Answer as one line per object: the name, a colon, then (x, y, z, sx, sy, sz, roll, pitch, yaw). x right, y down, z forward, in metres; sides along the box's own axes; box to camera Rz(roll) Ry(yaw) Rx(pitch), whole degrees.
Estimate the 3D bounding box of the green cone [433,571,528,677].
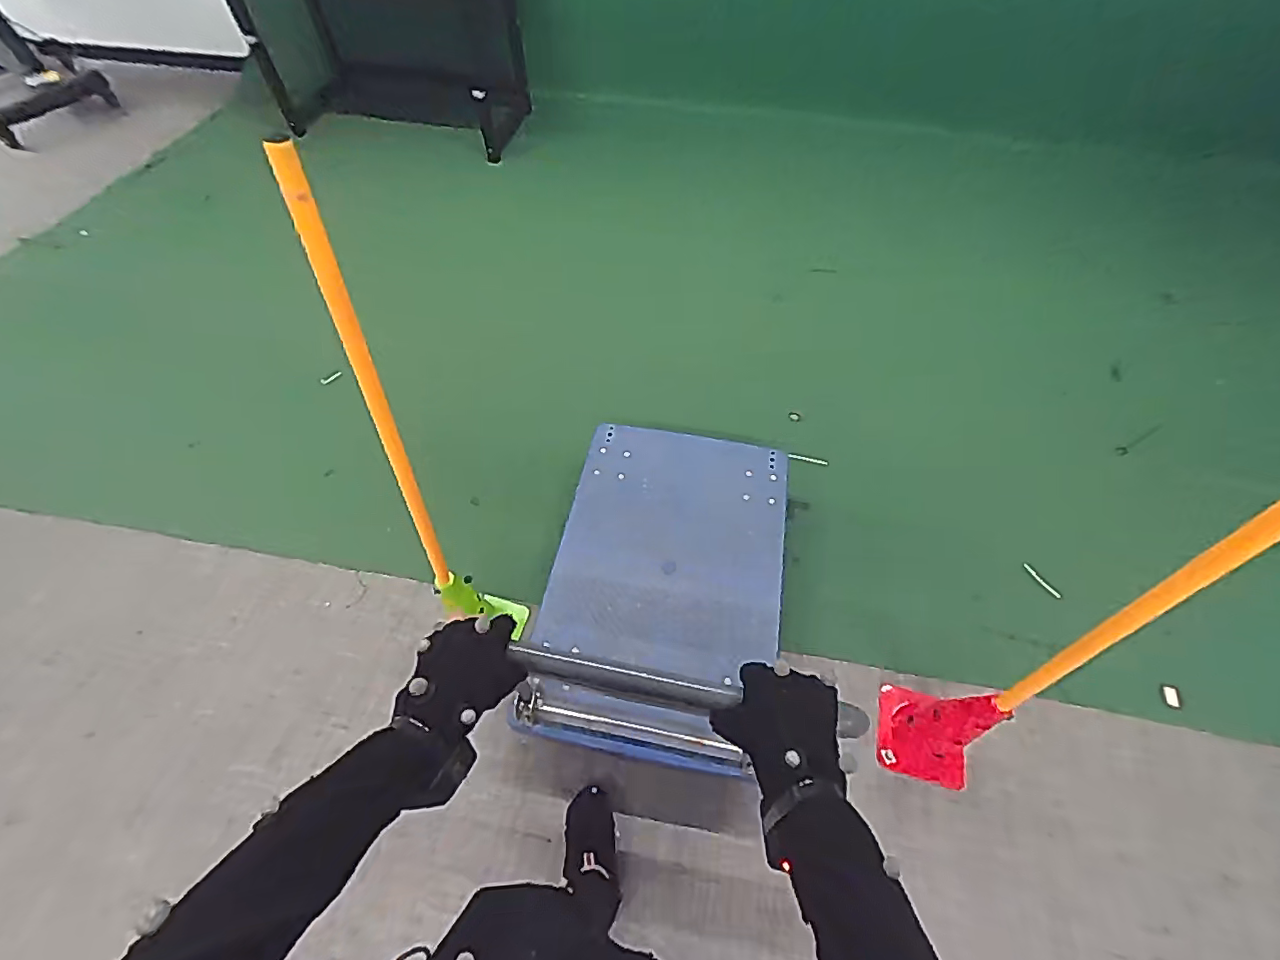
green cone: (-0.423, 0.315, 1.315, 0.202, 0.368, 0.200, 13, 56, 9)
